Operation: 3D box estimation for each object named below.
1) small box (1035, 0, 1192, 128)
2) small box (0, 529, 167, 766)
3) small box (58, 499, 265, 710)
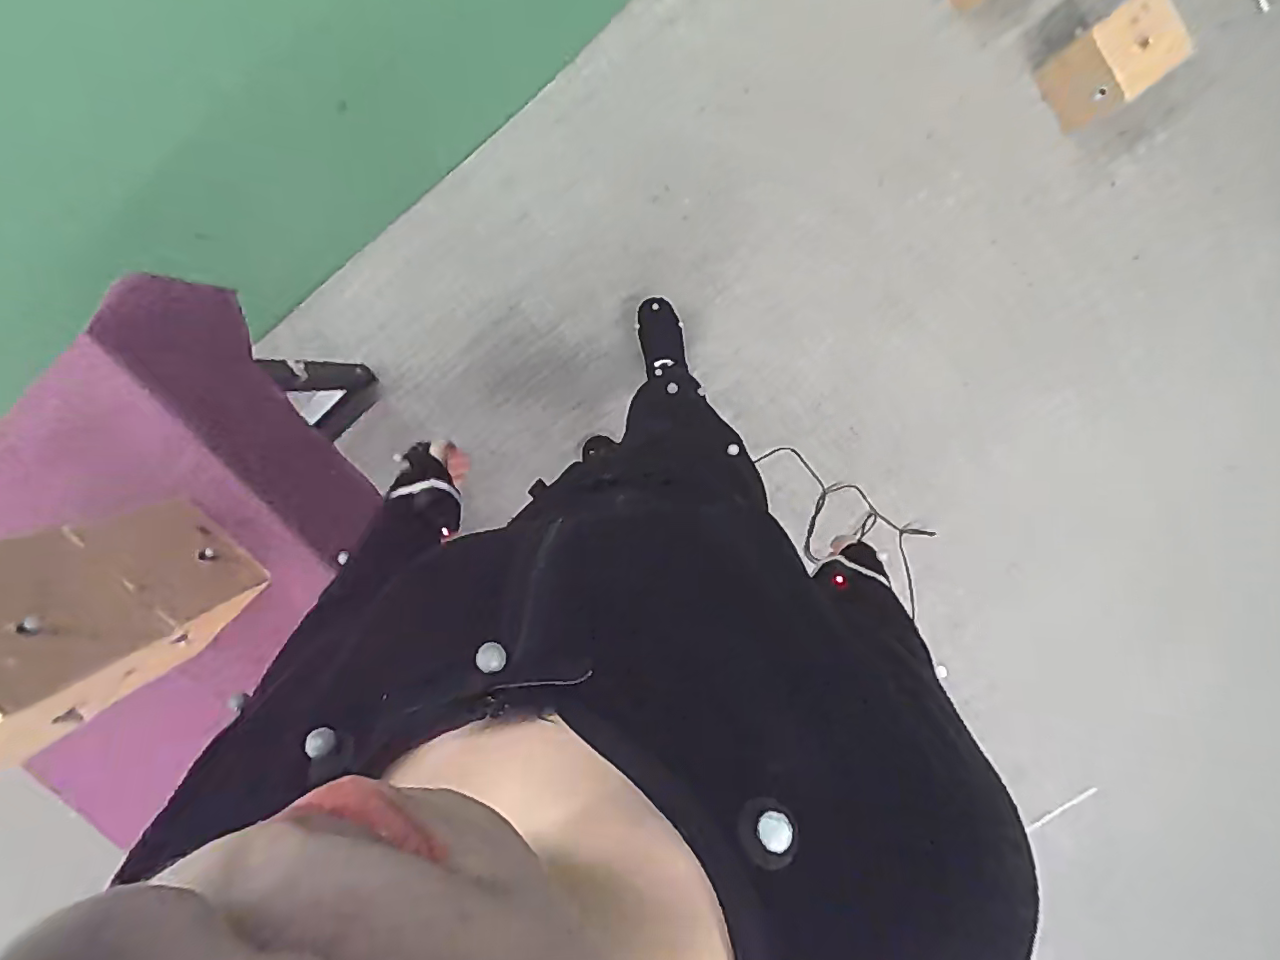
[{"bbox_3d":[1.061,-0.942,1.226,0.168,0.176,0.179,-37,98,6],"label":"small box"},{"bbox_3d":[-0.650,0.175,0.543,0.168,0.176,0.179,-43,98,7],"label":"small box"},{"bbox_3d":[-0.649,0.149,0.705,0.179,0.176,0.168,-43,97,7],"label":"small box"}]
